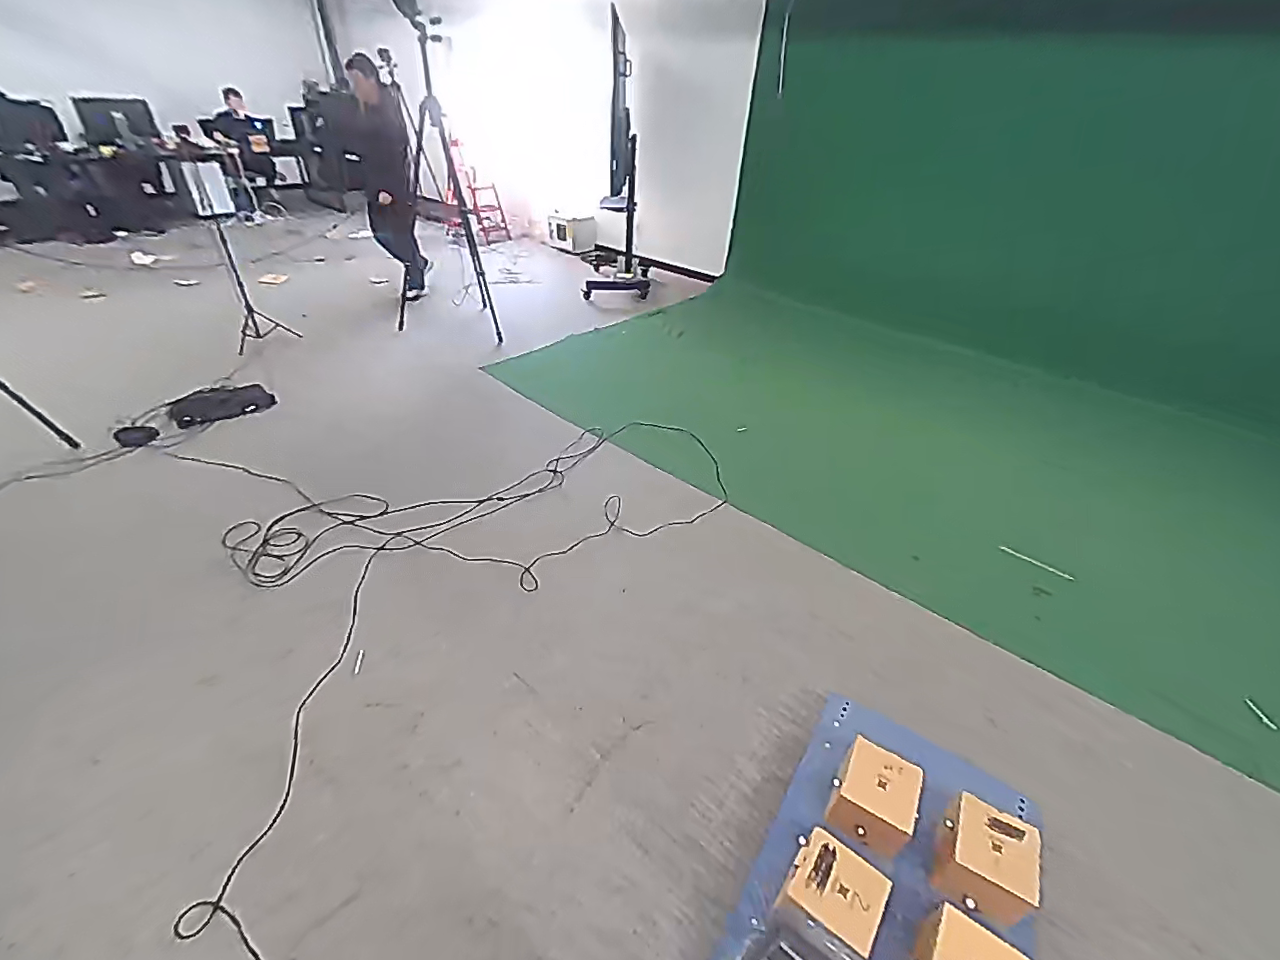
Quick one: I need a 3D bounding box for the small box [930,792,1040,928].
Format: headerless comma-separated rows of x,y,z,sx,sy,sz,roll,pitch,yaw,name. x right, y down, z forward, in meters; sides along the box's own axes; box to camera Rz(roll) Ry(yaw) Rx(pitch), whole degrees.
0.799,0.884,1.260,0.168,0.176,0.179,22,42,23,small box

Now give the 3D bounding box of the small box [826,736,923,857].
0.582,0.796,1.357,0.168,0.176,0.179,23,41,22,small box

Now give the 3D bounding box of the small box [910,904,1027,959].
0.645,1.013,1.079,0.168,0.176,0.179,26,43,26,small box
